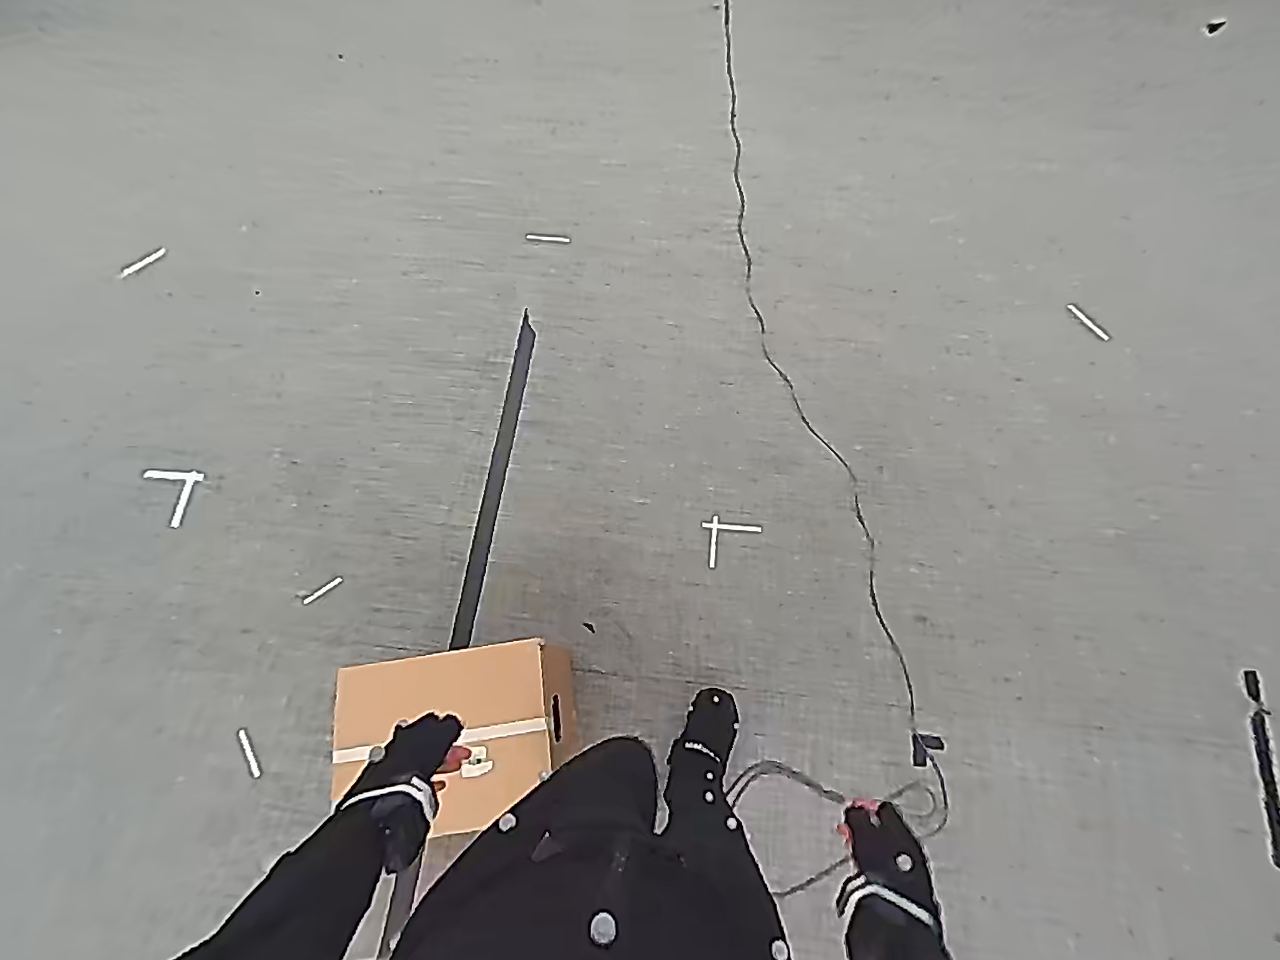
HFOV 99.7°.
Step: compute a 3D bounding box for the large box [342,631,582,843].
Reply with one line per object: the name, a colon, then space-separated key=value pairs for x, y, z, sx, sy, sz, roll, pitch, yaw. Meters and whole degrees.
large box: x=-0.357 y=0.527 z=1.158 sx=0.408 sy=0.320 sz=0.320 roll=-9 pitch=70 yaw=-1
